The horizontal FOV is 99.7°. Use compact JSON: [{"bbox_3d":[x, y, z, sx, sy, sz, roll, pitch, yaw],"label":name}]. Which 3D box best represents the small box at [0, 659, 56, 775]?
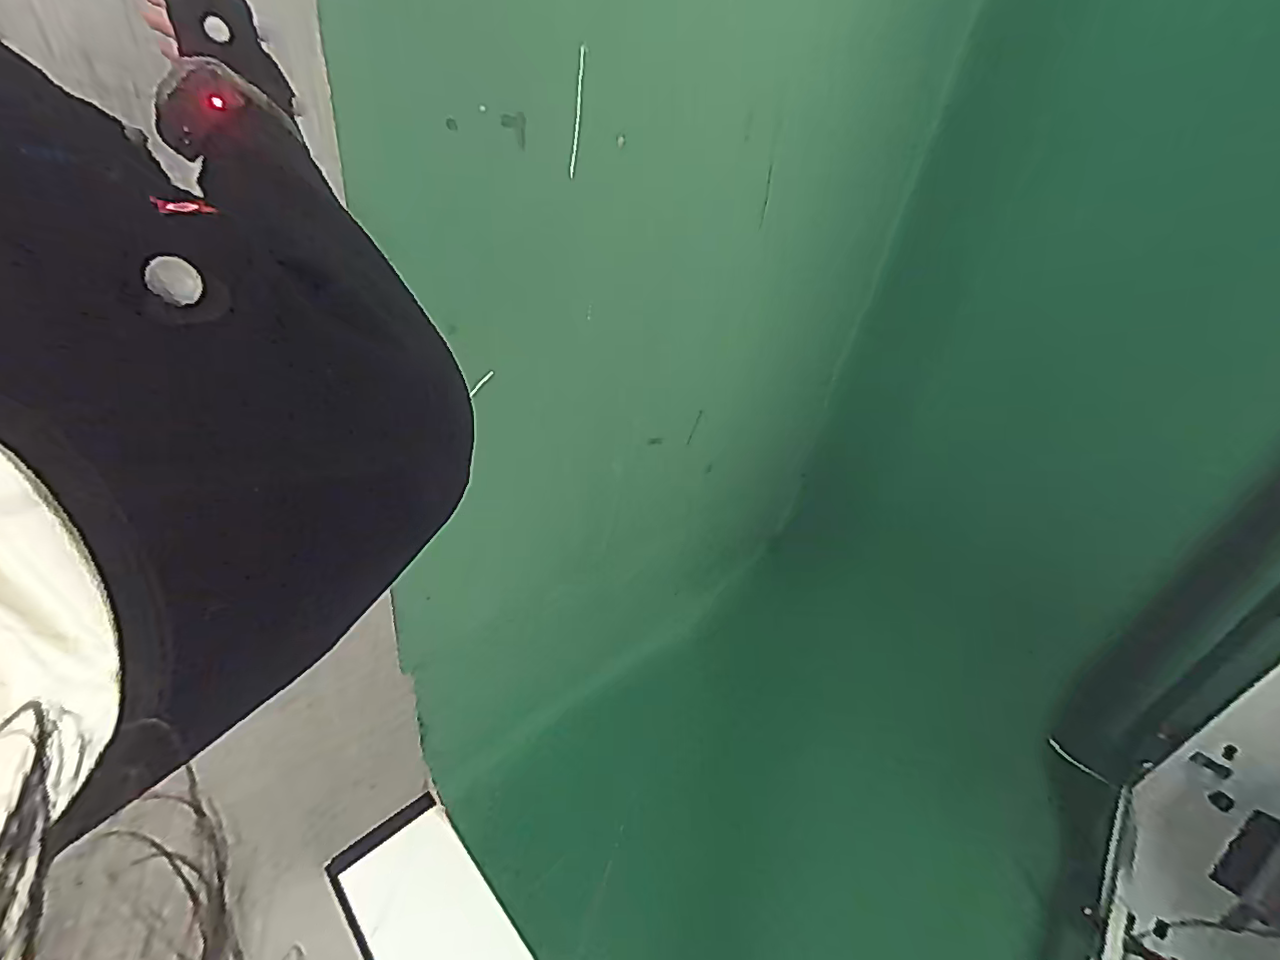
[{"bbox_3d":[-1.418,0.526,1.160,0.179,0.176,0.168,-24,137,-41],"label":"small box"}]
